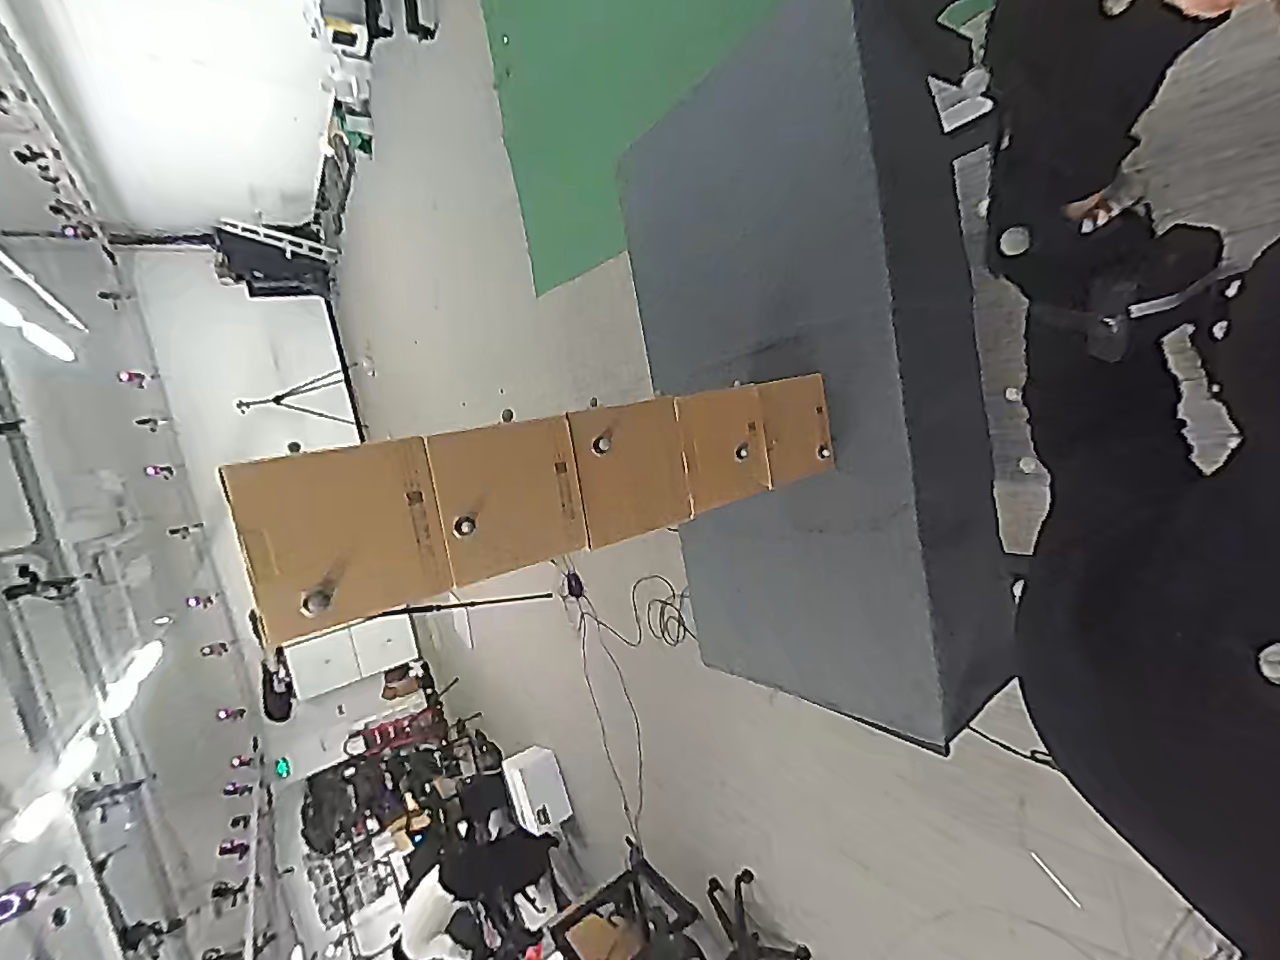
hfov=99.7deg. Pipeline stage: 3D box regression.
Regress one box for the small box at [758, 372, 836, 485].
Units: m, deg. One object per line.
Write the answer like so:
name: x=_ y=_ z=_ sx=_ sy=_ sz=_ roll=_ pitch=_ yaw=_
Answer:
small box: x=0.225 y=-0.088 z=0.952 sx=0.179 sy=0.176 sz=0.168 roll=-2 pitch=101 yaw=57

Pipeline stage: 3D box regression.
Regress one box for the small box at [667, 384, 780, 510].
small box: x=0.095 y=-0.054 z=0.863 sx=0.179 sy=0.176 sz=0.168 roll=-1 pitch=101 yaw=56

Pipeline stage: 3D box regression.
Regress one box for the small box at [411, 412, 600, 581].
small box: x=-0.170 y=0.010 z=0.681 sx=0.179 sy=0.176 sz=0.168 roll=3 pitch=105 yaw=56

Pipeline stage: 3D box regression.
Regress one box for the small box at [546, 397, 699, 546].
small box: x=-0.037 y=-0.020 z=0.771 sx=0.168 sy=0.176 sz=0.179 roll=1 pitch=103 yaw=56
